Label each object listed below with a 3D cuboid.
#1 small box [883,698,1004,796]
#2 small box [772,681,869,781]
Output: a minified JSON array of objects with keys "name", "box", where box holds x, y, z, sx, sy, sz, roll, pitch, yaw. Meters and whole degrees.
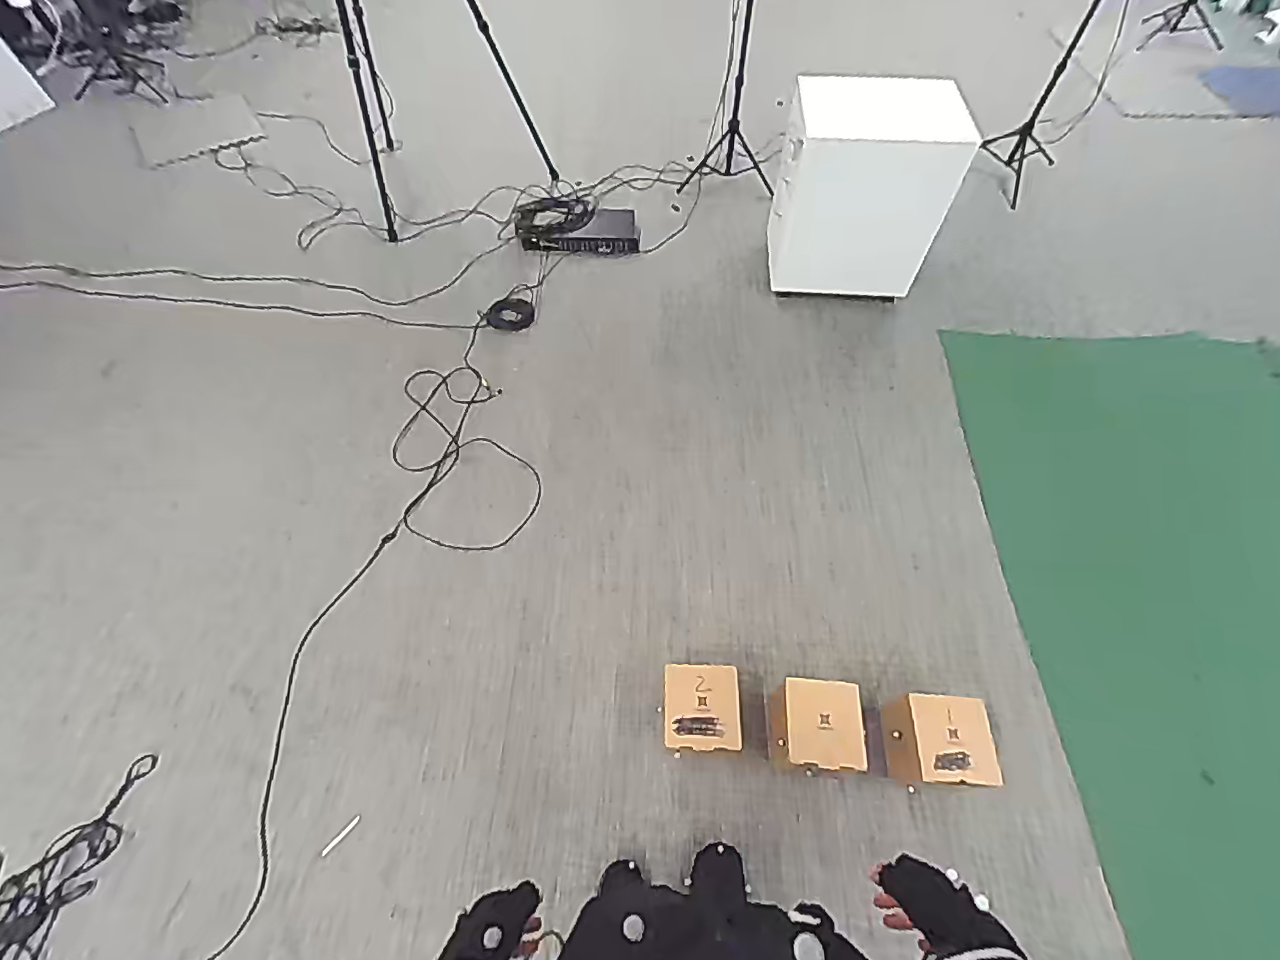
[{"name":"small box","box":[0.669,0.604,1.217,0.168,0.176,0.179,4,57,2]},{"name":"small box","box":[0.402,0.576,1.235,0.168,0.176,0.179,4,58,3]}]
